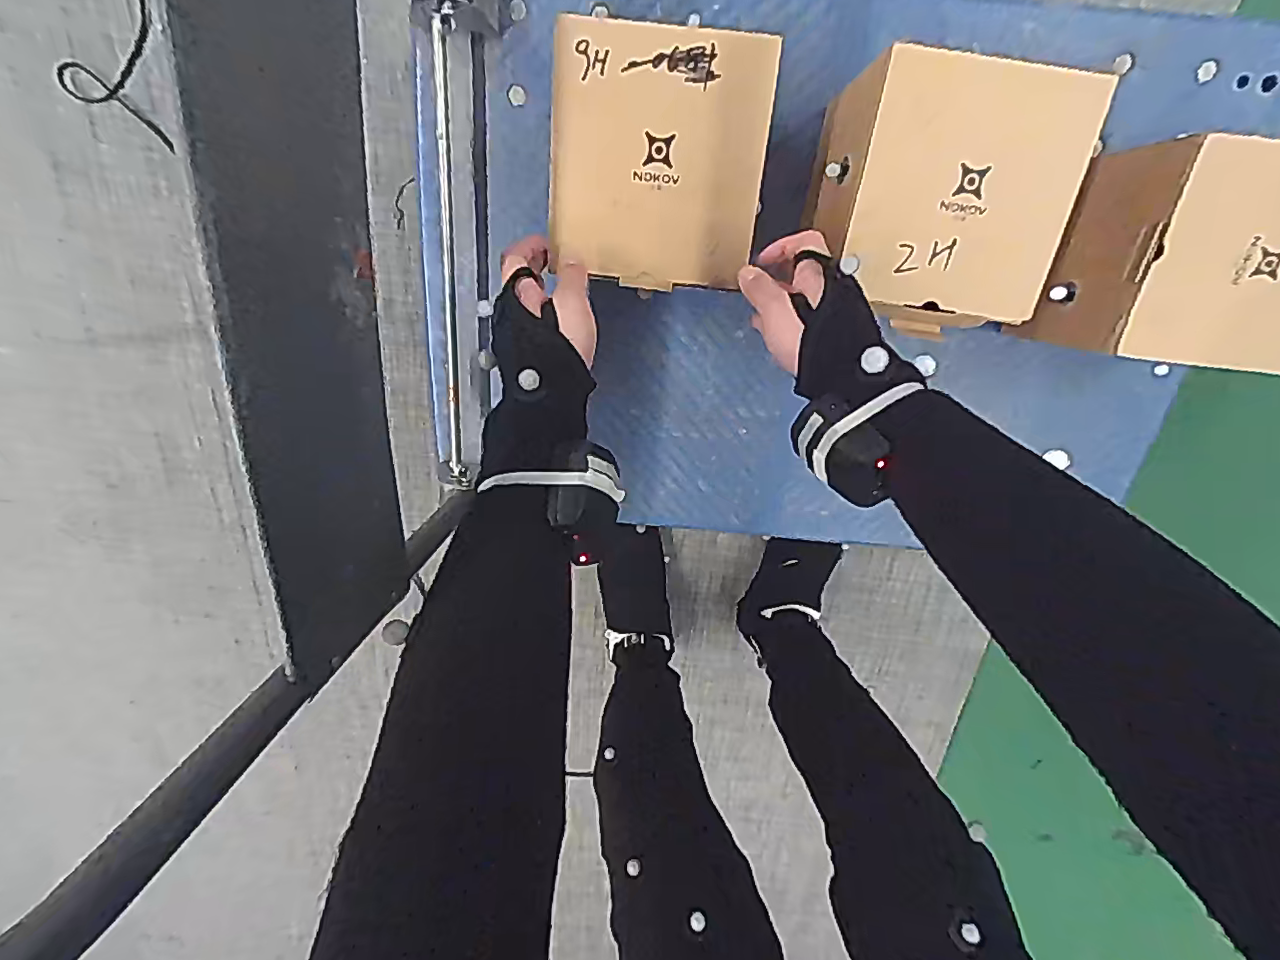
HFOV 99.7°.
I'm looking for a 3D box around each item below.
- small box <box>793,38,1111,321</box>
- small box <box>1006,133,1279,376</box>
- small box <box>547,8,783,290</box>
[{"bbox_3d":[0.252,-0.254,0.493,0.168,0.176,0.179,9,112,0],"label":"small box"},{"bbox_3d":[0.492,-0.201,0.504,0.179,0.176,0.168,7,112,0],"label":"small box"},{"bbox_3d":[0.017,-0.279,0.493,0.168,0.176,0.179,7,112,-1],"label":"small box"}]
